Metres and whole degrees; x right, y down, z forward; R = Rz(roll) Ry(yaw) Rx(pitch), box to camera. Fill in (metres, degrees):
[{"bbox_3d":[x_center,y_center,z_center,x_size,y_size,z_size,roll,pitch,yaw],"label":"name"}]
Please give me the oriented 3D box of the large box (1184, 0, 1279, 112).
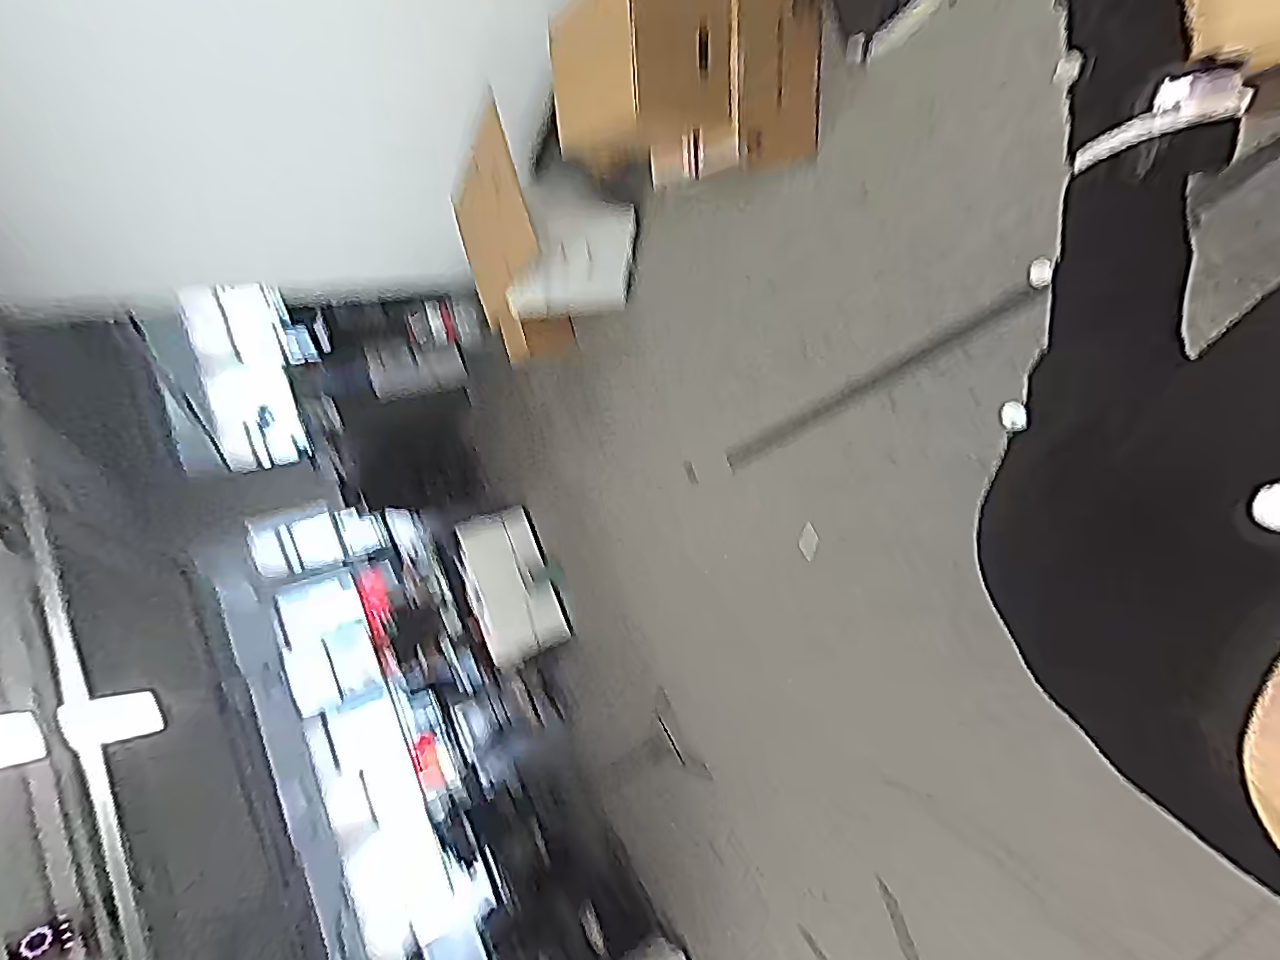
[{"bbox_3d":[0.575,-0.464,0.274,0.408,0.320,0.320,1,110,54],"label":"large box"}]
